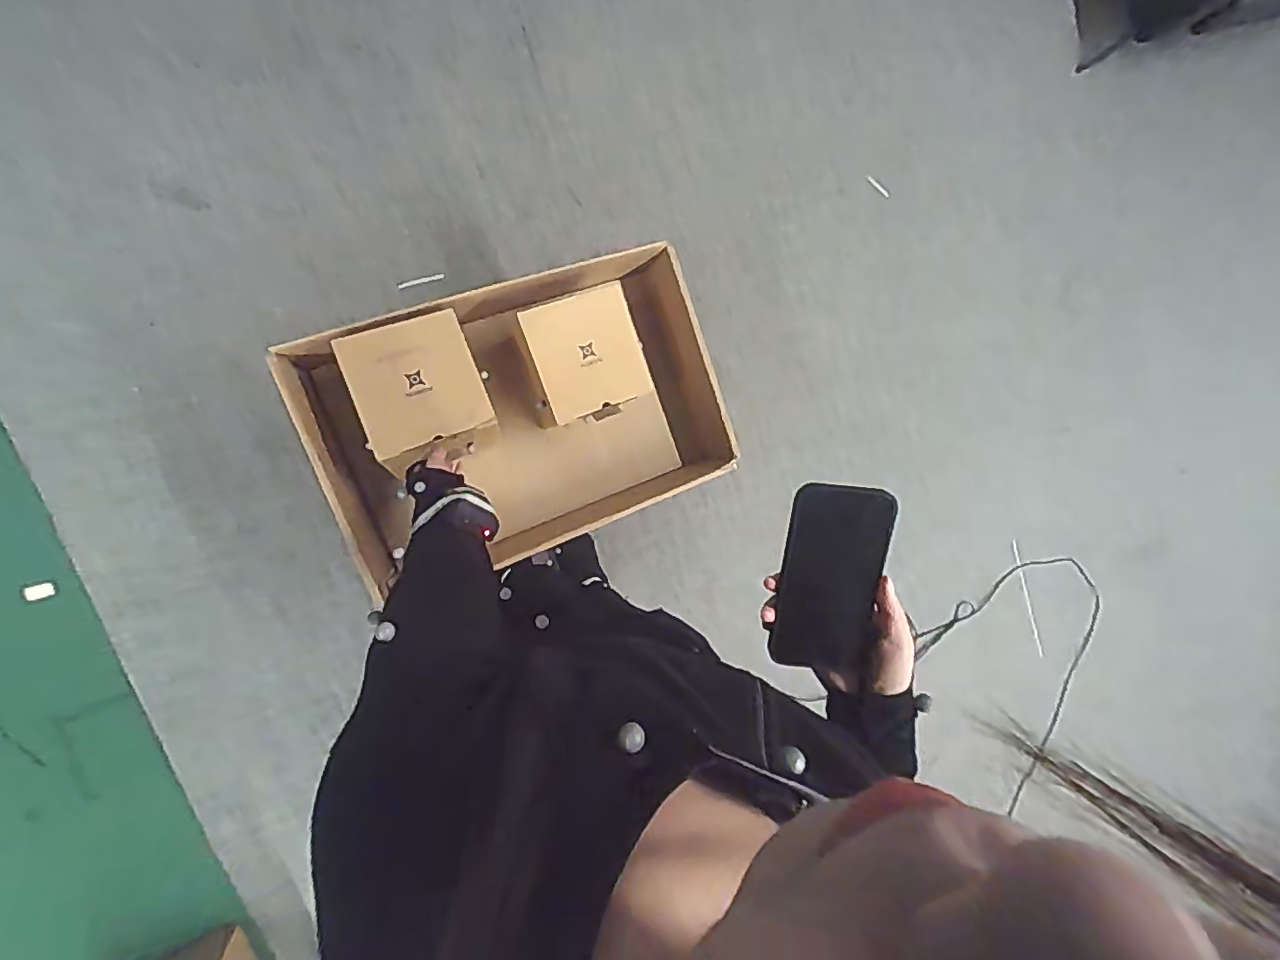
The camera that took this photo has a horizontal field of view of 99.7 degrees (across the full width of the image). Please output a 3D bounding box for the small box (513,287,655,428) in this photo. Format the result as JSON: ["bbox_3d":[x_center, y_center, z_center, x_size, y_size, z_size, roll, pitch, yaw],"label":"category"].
[{"bbox_3d":[-0.100,-0.192,0.890,0.168,0.176,0.179,-22,101,-15],"label":"small box"}]
